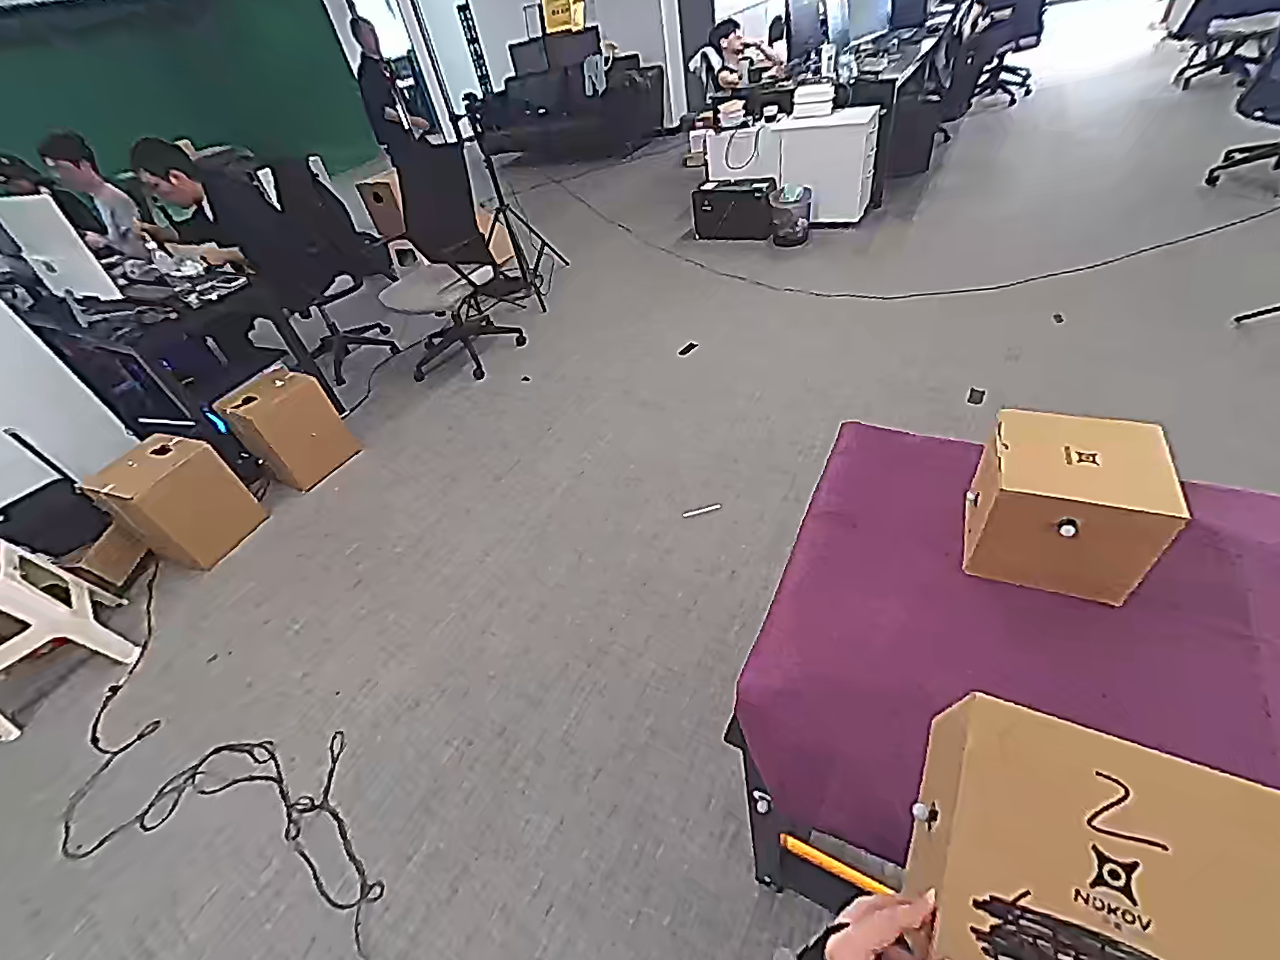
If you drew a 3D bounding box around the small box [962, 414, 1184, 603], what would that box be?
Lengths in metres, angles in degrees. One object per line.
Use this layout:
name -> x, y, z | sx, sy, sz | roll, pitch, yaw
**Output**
small box -> 0.546, 0.038, 0.710 | 0.179, 0.176, 0.168 | 11, 47, 24
